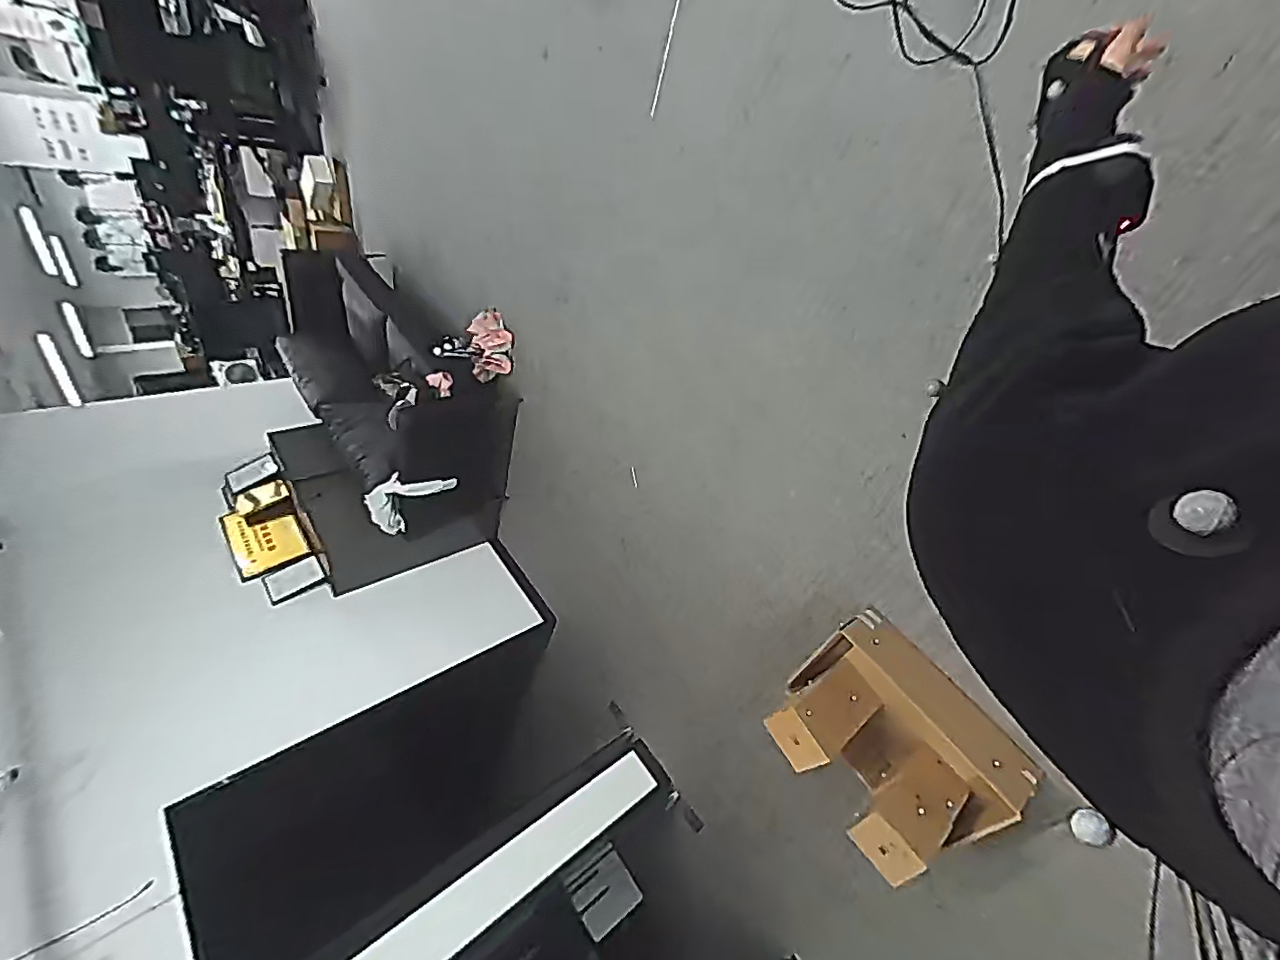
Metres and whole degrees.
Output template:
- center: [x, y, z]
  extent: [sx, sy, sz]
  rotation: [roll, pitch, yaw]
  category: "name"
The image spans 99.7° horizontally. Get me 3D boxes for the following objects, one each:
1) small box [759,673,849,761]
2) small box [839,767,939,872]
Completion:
- center: [0.519, 0.745, 1.706]
  extent: [0.179, 0.176, 0.168]
  rotation: [56, 139, 19]
  category: "small box"
- center: [0.719, 0.971, 1.555]
  extent: [0.168, 0.176, 0.179]
  rotation: [44, 134, 28]
  category: "small box"
